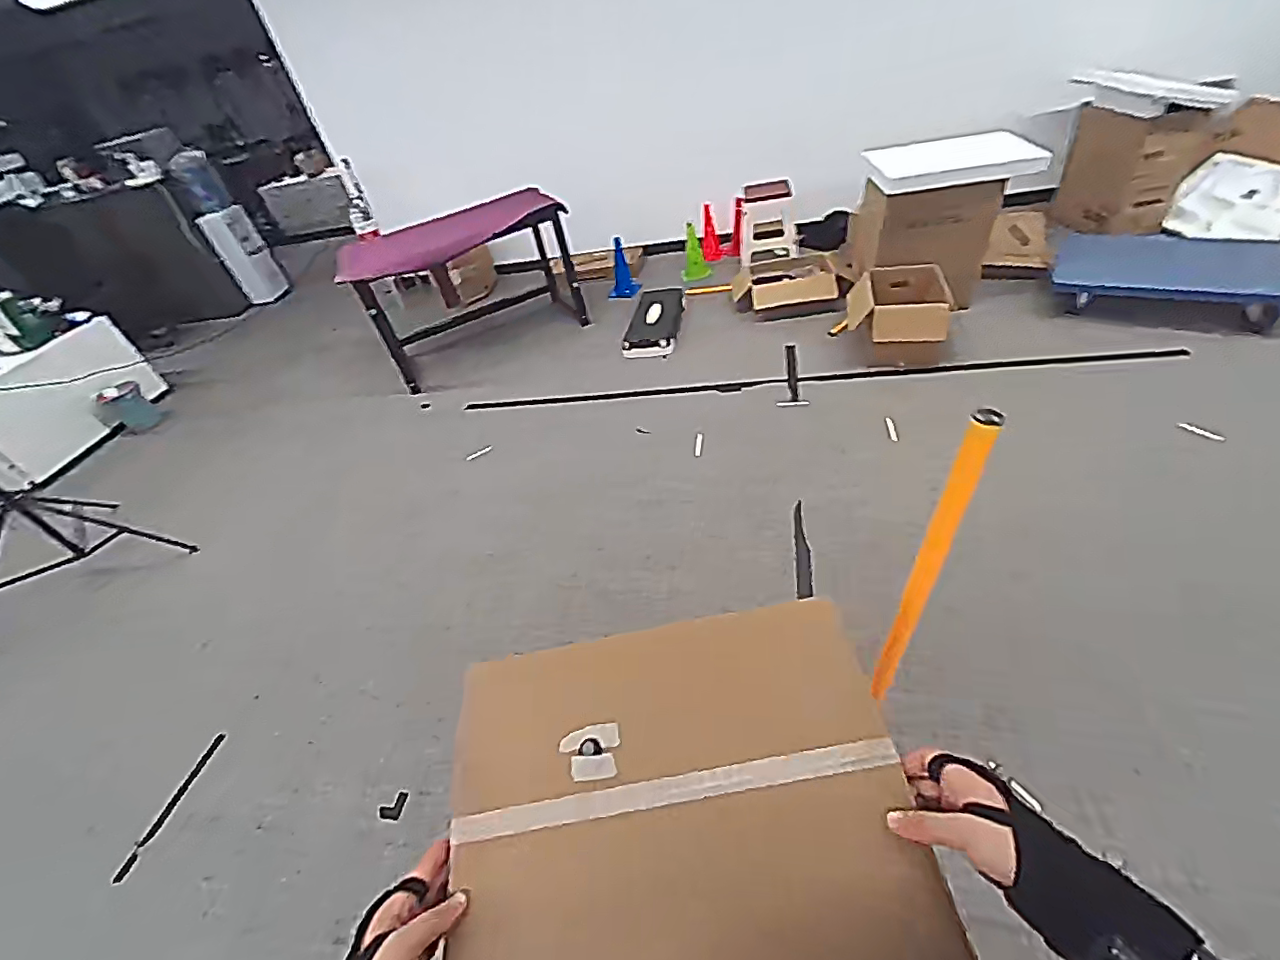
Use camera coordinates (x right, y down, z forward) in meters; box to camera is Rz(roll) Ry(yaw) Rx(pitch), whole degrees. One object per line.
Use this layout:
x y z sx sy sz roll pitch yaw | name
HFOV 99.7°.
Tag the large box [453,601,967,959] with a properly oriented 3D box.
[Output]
0.054 0.382 0.607 0.408 0.320 0.320 -14 48 3 | large box
